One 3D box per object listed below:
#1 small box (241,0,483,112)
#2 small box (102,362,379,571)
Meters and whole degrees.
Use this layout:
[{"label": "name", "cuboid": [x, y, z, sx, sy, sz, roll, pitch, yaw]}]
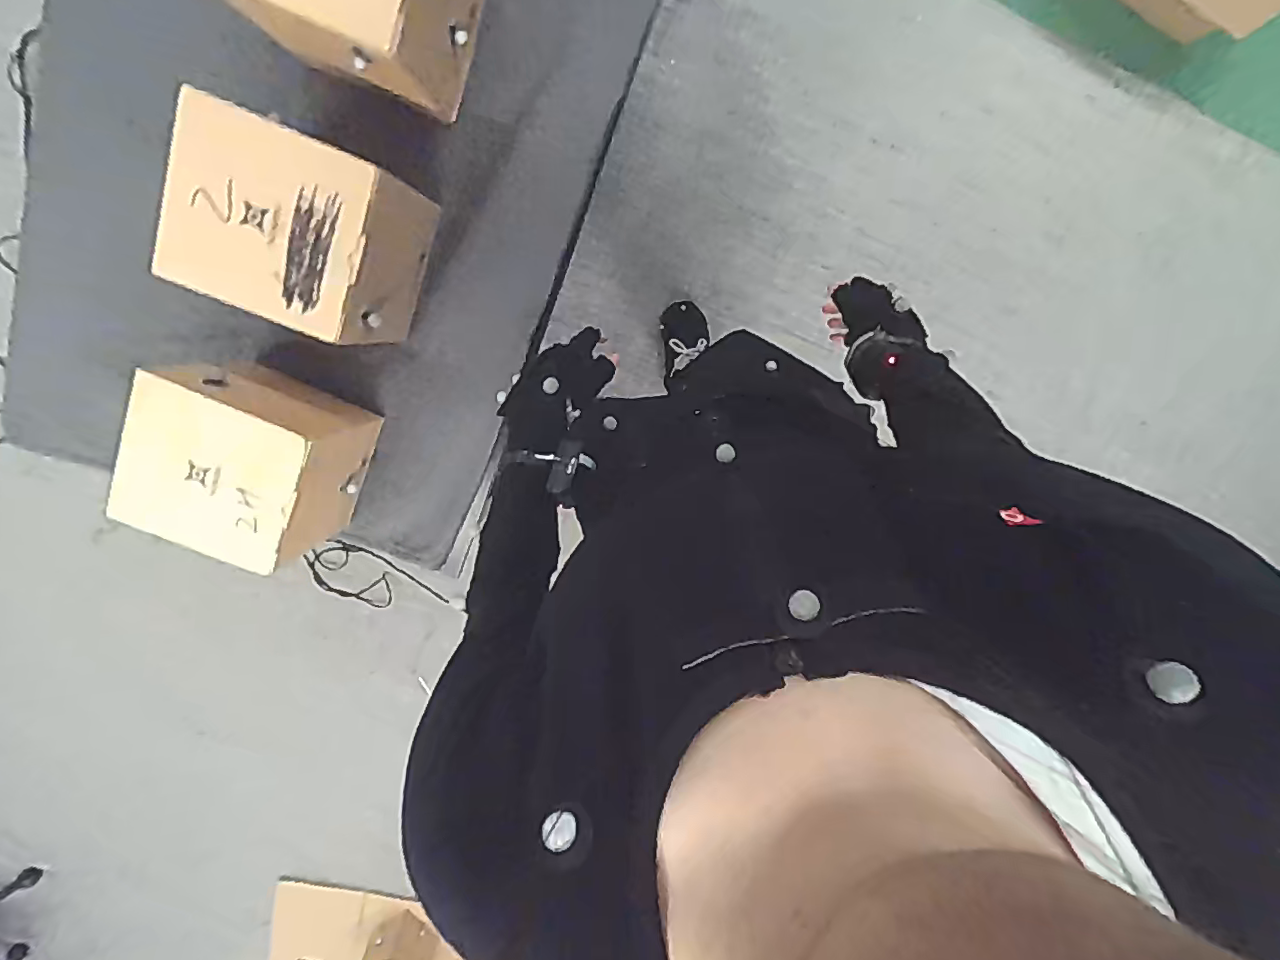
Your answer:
[{"label": "small box", "cuboid": [-0.265, -0.488, 0.507, 0.179, 0.176, 0.168, 19, 104, -7]}, {"label": "small box", "cuboid": [-0.442, -0.026, 0.625, 0.179, 0.176, 0.168, 24, 104, -6]}]
